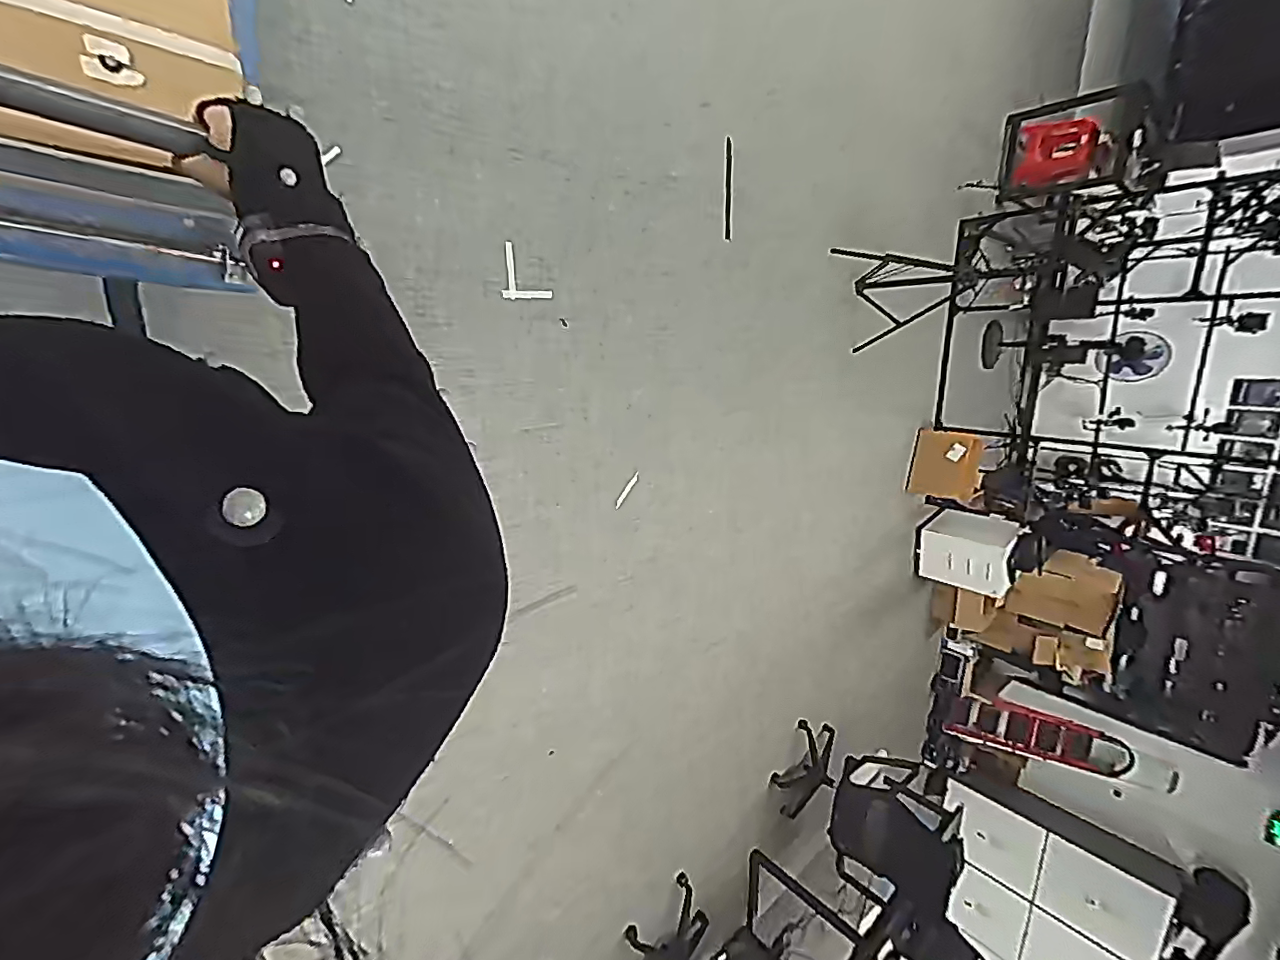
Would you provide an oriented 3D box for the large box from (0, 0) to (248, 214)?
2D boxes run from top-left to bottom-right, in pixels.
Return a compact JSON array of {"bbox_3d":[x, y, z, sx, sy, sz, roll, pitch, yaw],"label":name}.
[{"bbox_3d":[-0.828,-0.592,0.744,0.408,0.320,0.320,-10,107,-43],"label":"large box"}]
